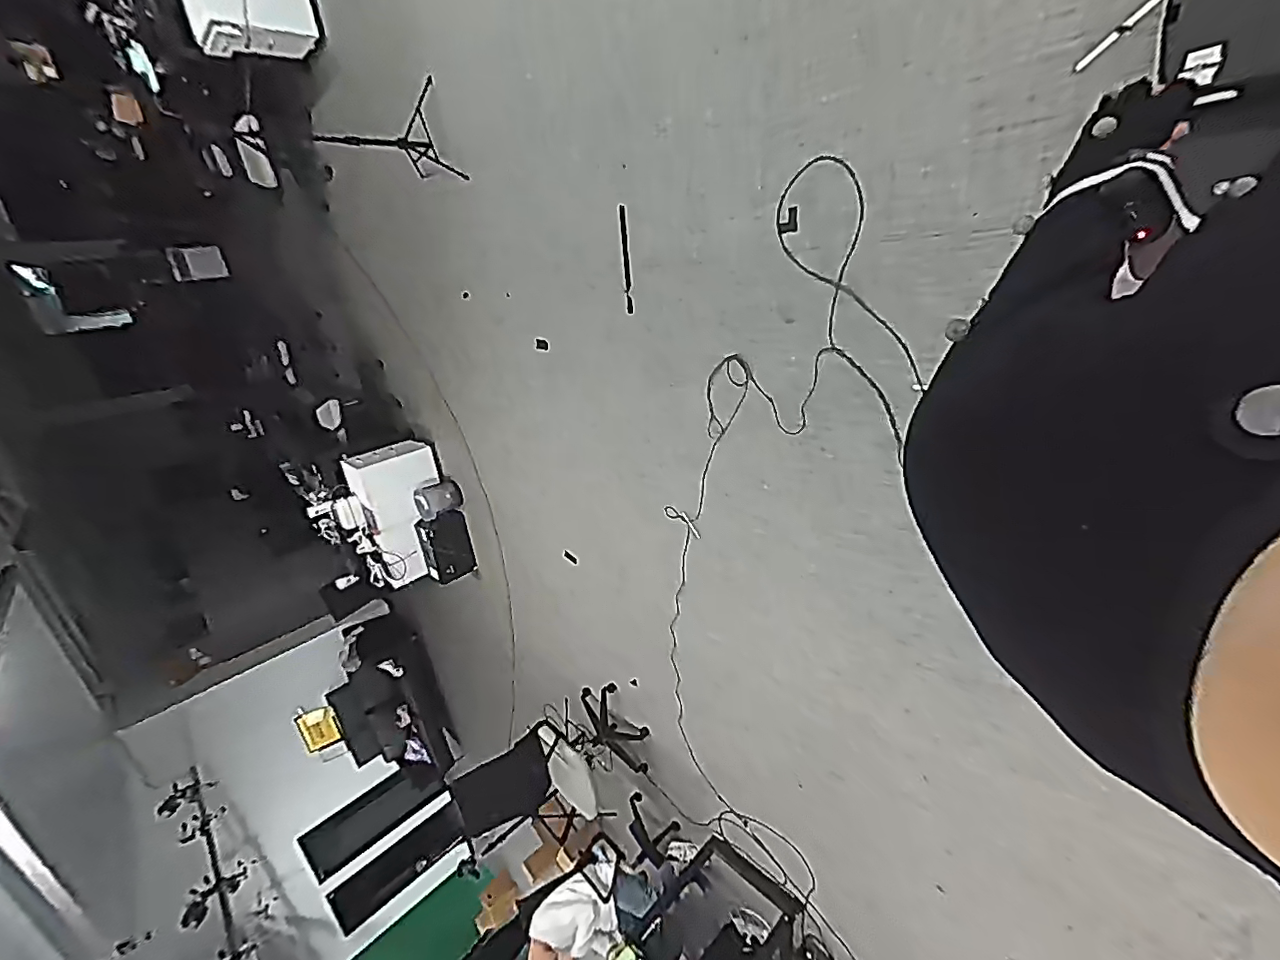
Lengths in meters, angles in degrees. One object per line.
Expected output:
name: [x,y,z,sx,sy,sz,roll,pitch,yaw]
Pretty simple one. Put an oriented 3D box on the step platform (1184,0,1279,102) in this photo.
step platform: [1.161,-0.732,0.668,0.684,0.204,0.286,14,120,43]
